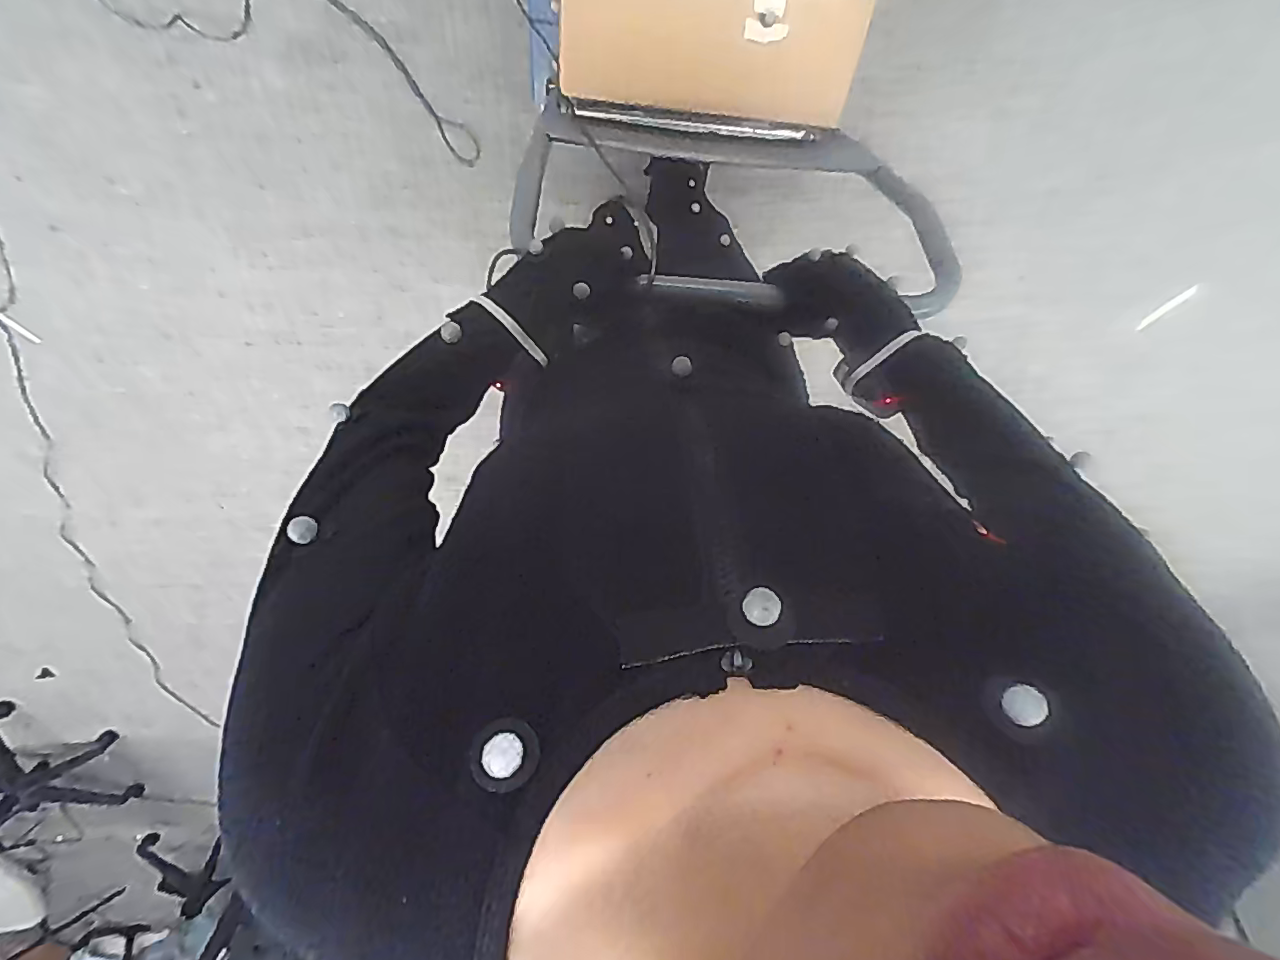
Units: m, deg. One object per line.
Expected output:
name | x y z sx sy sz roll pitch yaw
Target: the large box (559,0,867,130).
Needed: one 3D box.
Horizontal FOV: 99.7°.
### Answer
large box | 0.088 -0.729 0.784 0.408 0.320 0.320 2 132 -6
